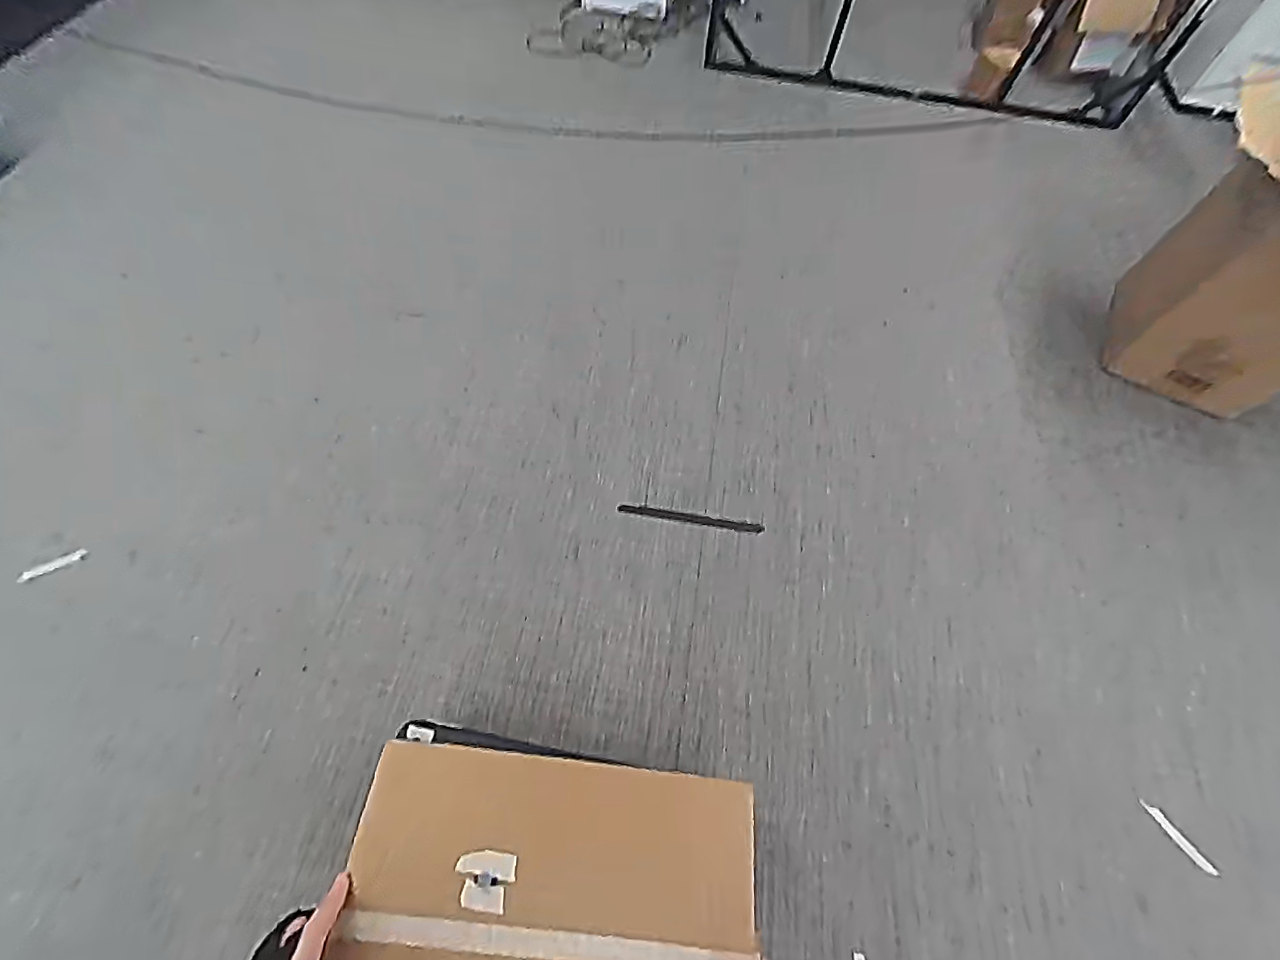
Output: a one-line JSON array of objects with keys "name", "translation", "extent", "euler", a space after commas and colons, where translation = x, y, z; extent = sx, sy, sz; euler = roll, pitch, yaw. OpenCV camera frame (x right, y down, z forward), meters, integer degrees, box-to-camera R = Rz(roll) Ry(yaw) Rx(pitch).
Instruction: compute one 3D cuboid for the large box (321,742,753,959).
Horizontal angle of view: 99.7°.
[{"name": "large box", "translation": [-0.097, 0.505, 0.634], "extent": [0.408, 0.320, 0.320], "euler": [7, 60, 0]}]
